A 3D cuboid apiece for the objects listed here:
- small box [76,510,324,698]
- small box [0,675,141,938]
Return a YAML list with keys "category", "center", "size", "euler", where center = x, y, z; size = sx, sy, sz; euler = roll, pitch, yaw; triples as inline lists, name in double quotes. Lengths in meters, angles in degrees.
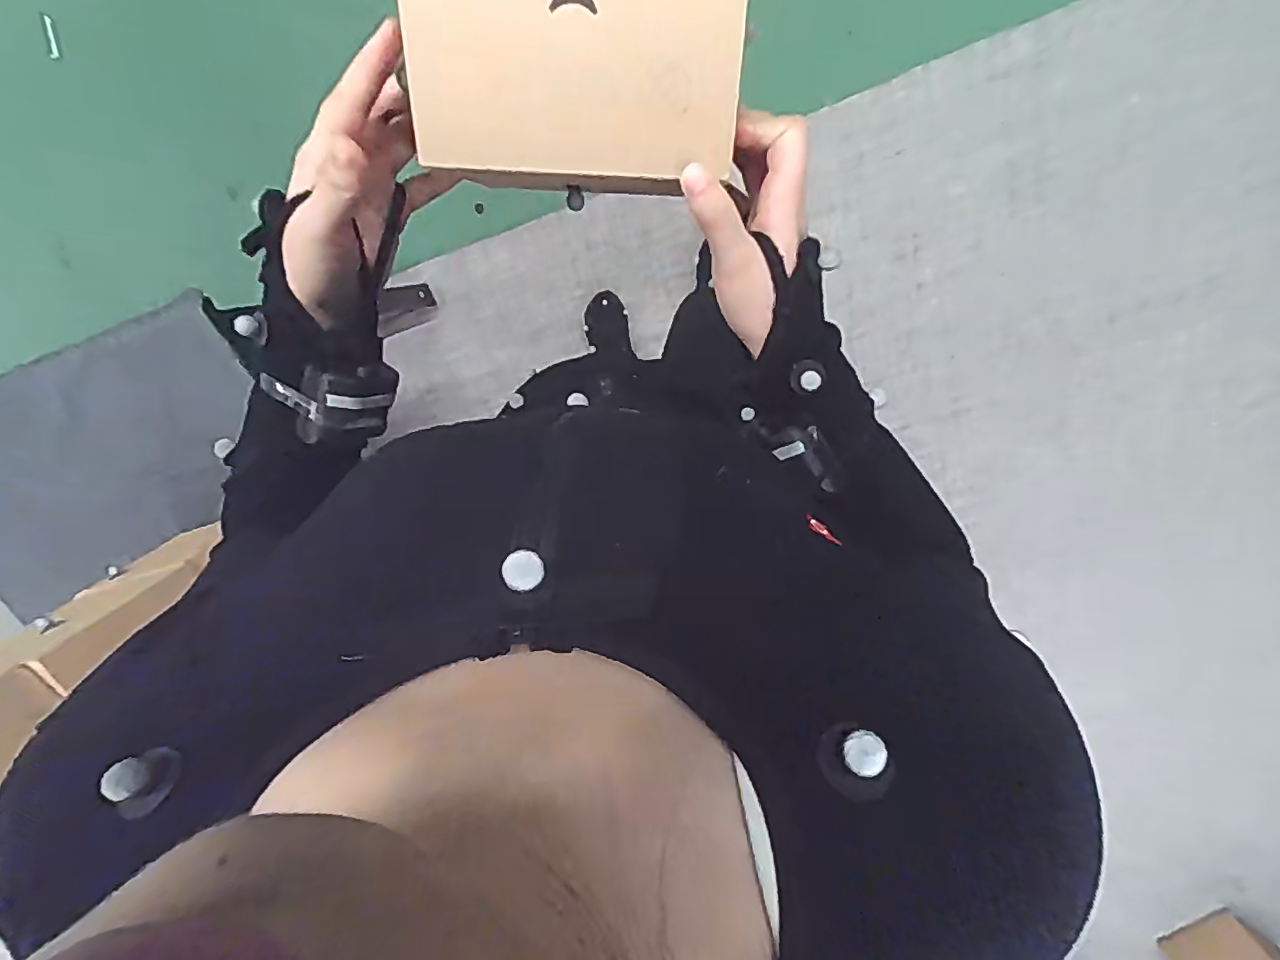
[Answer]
- category: "small box"
  center: [-0.577, 0.162, 0.746]
  size: [0.179, 0.176, 0.168]
  euler: [-17, 112, 10]
- category: "small box"
  center: [-0.591, 0.294, 0.445]
  size: [0.179, 0.176, 0.168]
  euler: [-20, 111, 12]
